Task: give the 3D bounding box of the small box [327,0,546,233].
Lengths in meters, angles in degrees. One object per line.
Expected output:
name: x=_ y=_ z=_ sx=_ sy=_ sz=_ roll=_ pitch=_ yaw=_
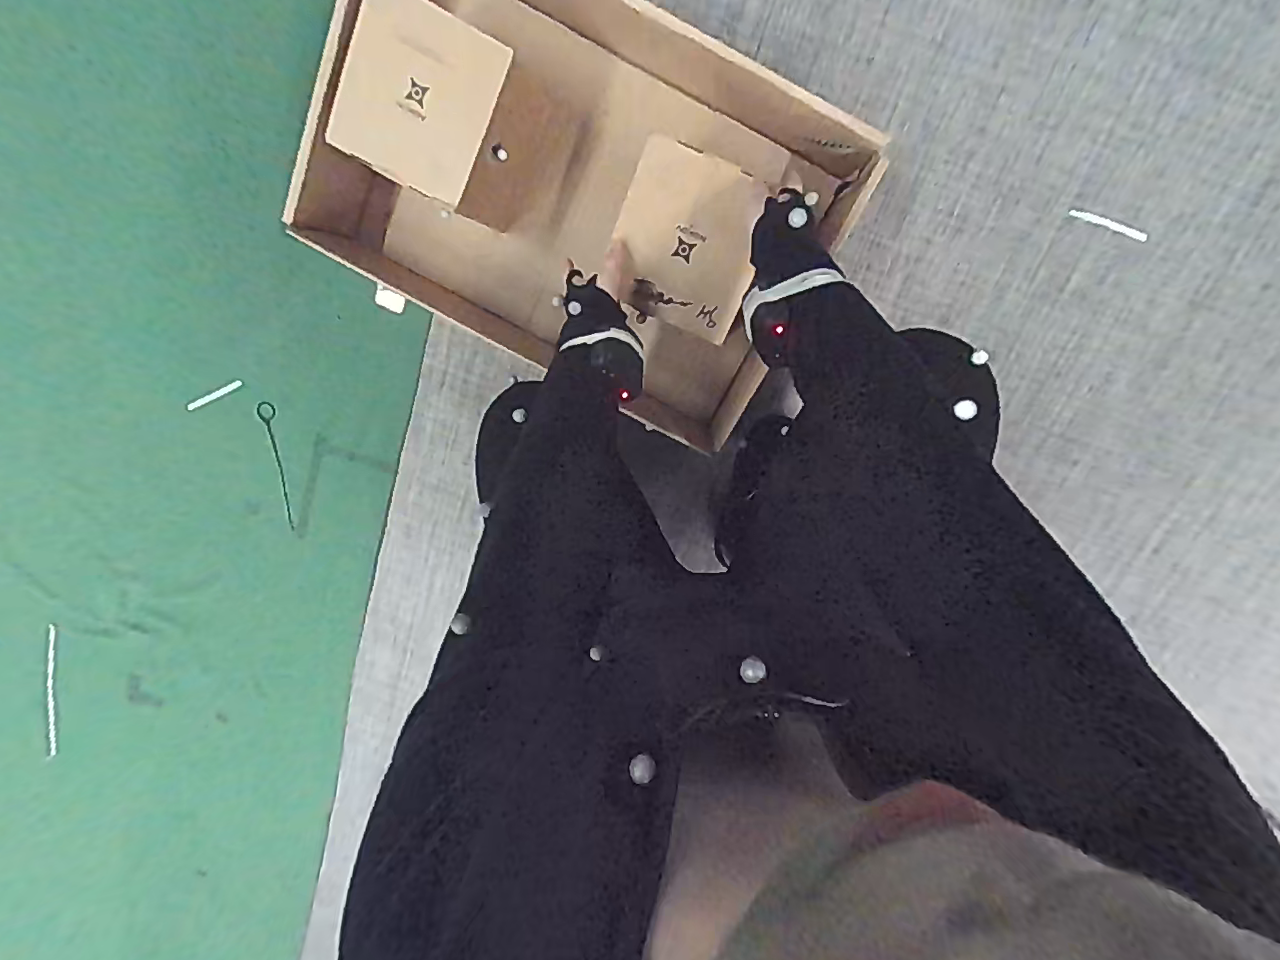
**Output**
small box: x=-0.234 y=-0.428 z=0.661 sx=0.168 sy=0.176 sz=0.179 roll=28 pitch=107 yaw=-4
